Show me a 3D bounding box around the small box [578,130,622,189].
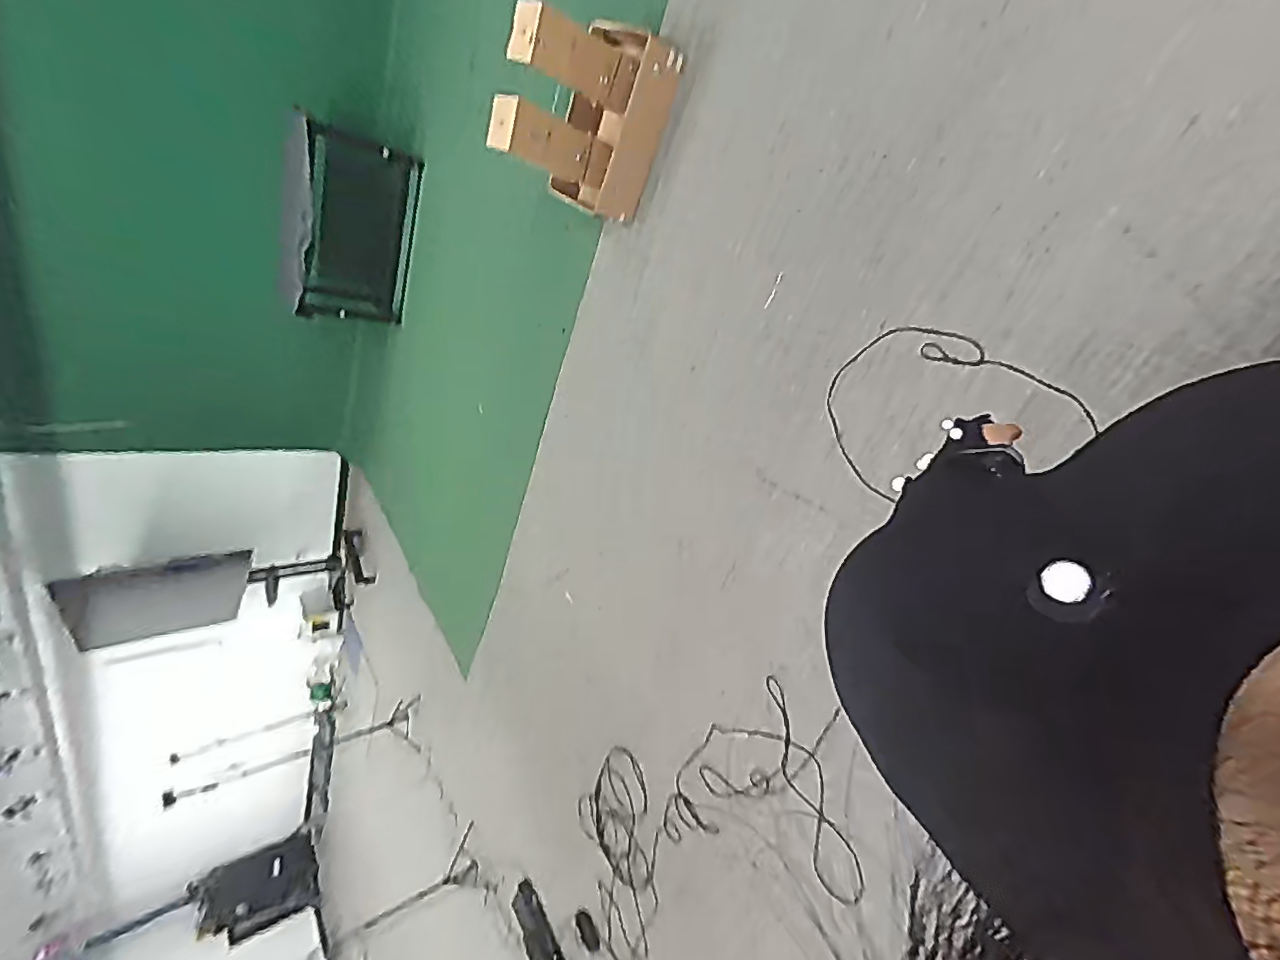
[{"bbox_3d":[-0.203,-1.310,2.205,0.179,0.176,0.168,40,119,37],"label":"small box"}]

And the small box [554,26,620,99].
[{"bbox_3d":[-0.202,-1.512,1.949,0.179,0.176,0.168,45,125,33],"label":"small box"}]

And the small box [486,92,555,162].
[{"bbox_3d":[-0.433,-1.283,1.971,0.179,0.176,0.168,37,117,38],"label":"small box"}]

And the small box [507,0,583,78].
[{"bbox_3d":[-0.323,-1.501,1.837,0.179,0.176,0.168,44,124,36],"label":"small box"}]

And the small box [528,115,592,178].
[{"bbox_3d":[-0.317,-1.290,2.088,0.179,0.176,0.168,37,118,37],"label":"small box"}]
